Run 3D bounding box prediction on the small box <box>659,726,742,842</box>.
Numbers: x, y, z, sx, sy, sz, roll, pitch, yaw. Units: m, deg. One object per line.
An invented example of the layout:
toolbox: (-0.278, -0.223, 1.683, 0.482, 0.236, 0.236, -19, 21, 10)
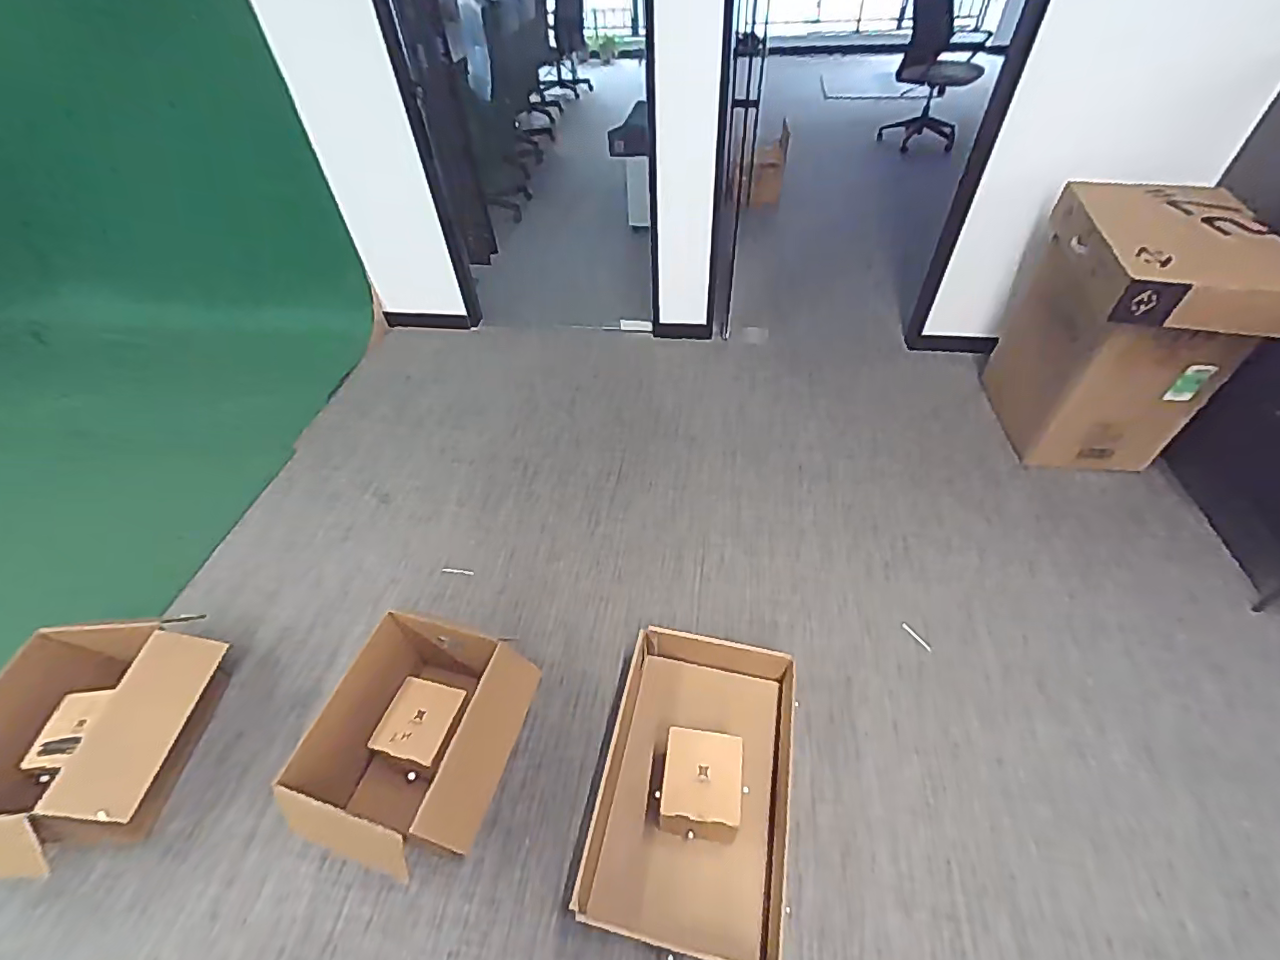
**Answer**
small box: (0.132, 0.676, 1.203, 0.168, 0.176, 0.179, 5, 47, 7)
